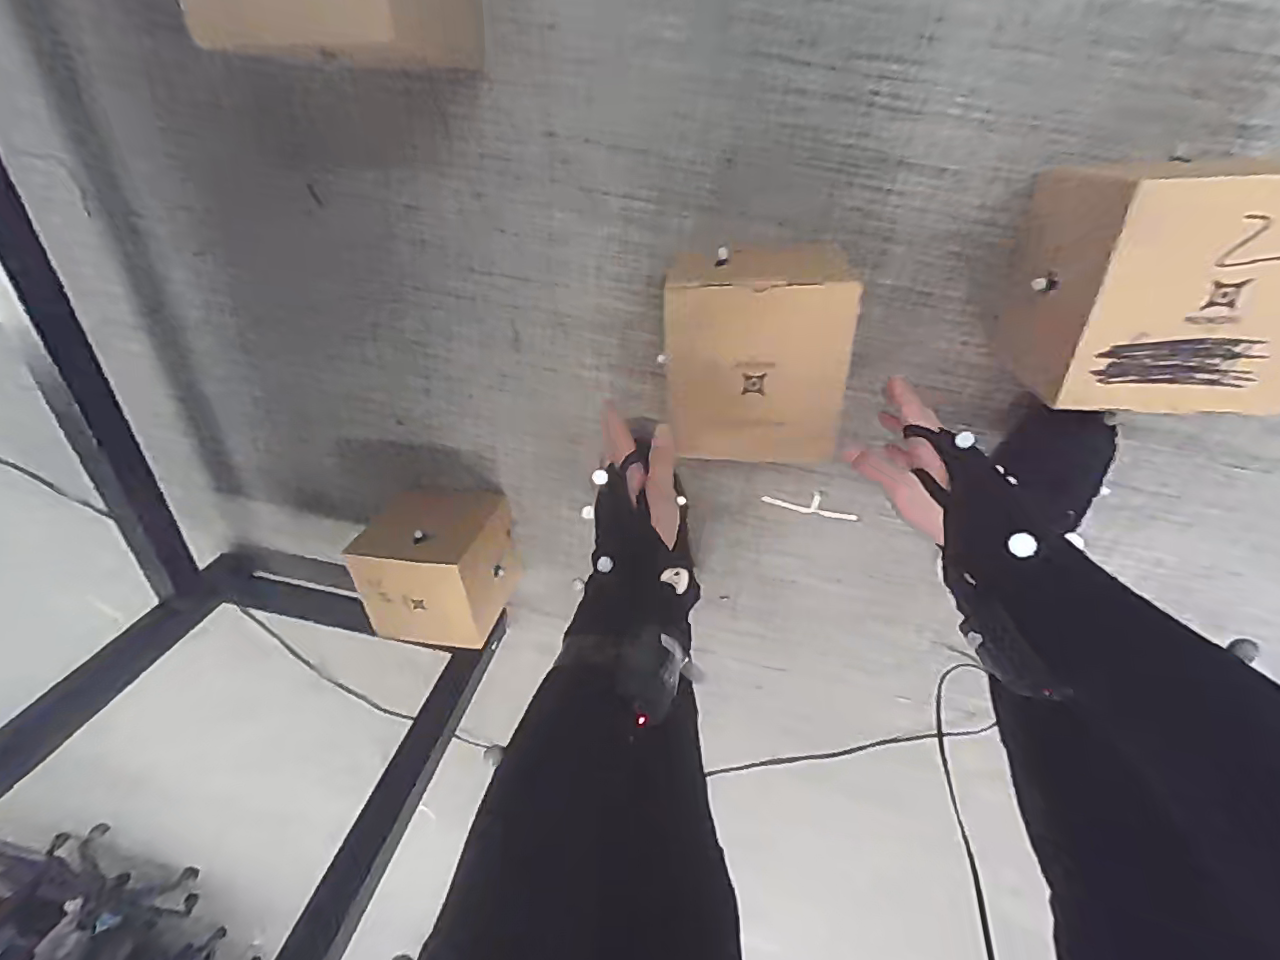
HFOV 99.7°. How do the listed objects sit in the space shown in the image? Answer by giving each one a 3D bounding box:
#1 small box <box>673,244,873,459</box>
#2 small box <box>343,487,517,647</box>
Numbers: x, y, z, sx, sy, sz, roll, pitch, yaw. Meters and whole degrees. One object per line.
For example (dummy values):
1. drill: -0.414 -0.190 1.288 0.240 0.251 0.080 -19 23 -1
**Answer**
1. small box: 0.124 -0.140 0.556 0.168 0.176 0.179 4 123 10
2. small box: -0.297 0.124 0.817 0.179 0.176 0.168 5 123 10
